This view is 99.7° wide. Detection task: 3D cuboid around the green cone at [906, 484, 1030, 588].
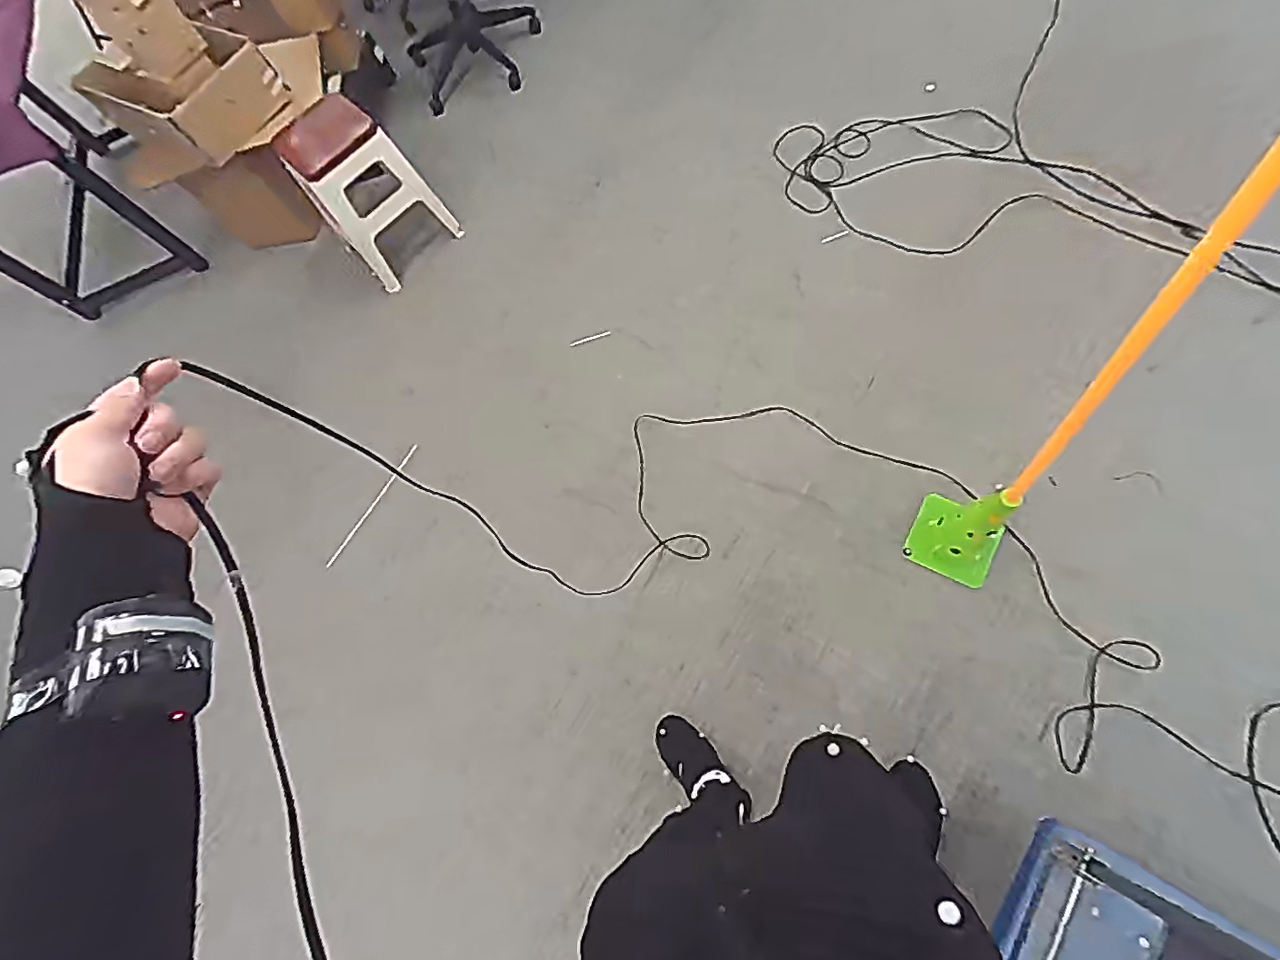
[{"bbox_3d":[0.790,0.095,1.241,0.200,0.368,0.202,25,75,18],"label":"green cone"}]
